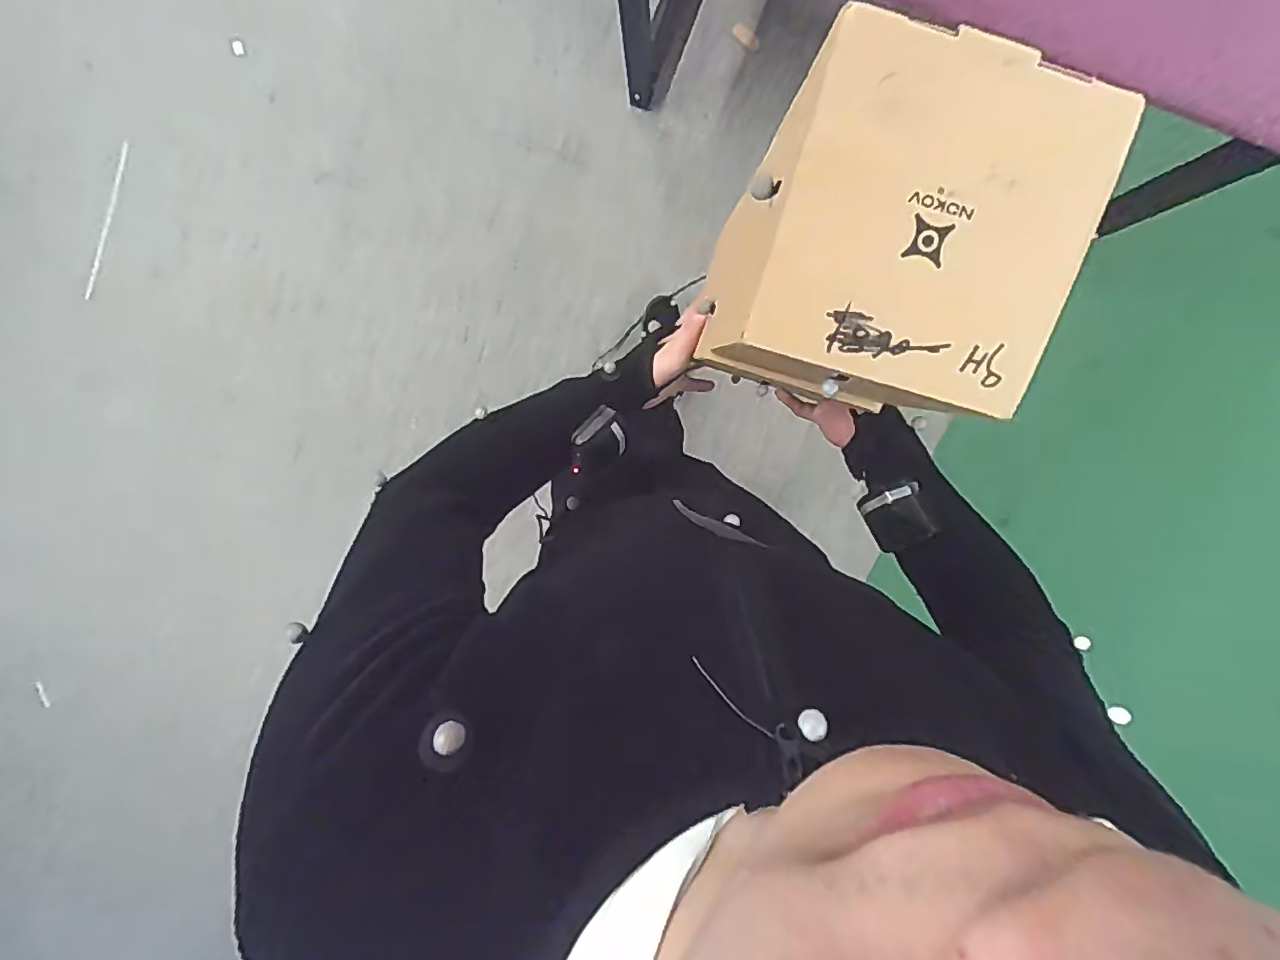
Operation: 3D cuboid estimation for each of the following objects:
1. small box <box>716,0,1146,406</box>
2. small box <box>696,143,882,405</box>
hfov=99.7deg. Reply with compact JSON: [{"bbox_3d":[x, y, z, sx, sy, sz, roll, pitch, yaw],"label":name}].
[{"bbox_3d":[0.157,-0.160,0.363,0.168,0.176,0.179,16,101,-1],"label":"small box"},{"bbox_3d":[0.157,-0.185,0.525,0.168,0.176,0.179,17,101,-2],"label":"small box"}]
